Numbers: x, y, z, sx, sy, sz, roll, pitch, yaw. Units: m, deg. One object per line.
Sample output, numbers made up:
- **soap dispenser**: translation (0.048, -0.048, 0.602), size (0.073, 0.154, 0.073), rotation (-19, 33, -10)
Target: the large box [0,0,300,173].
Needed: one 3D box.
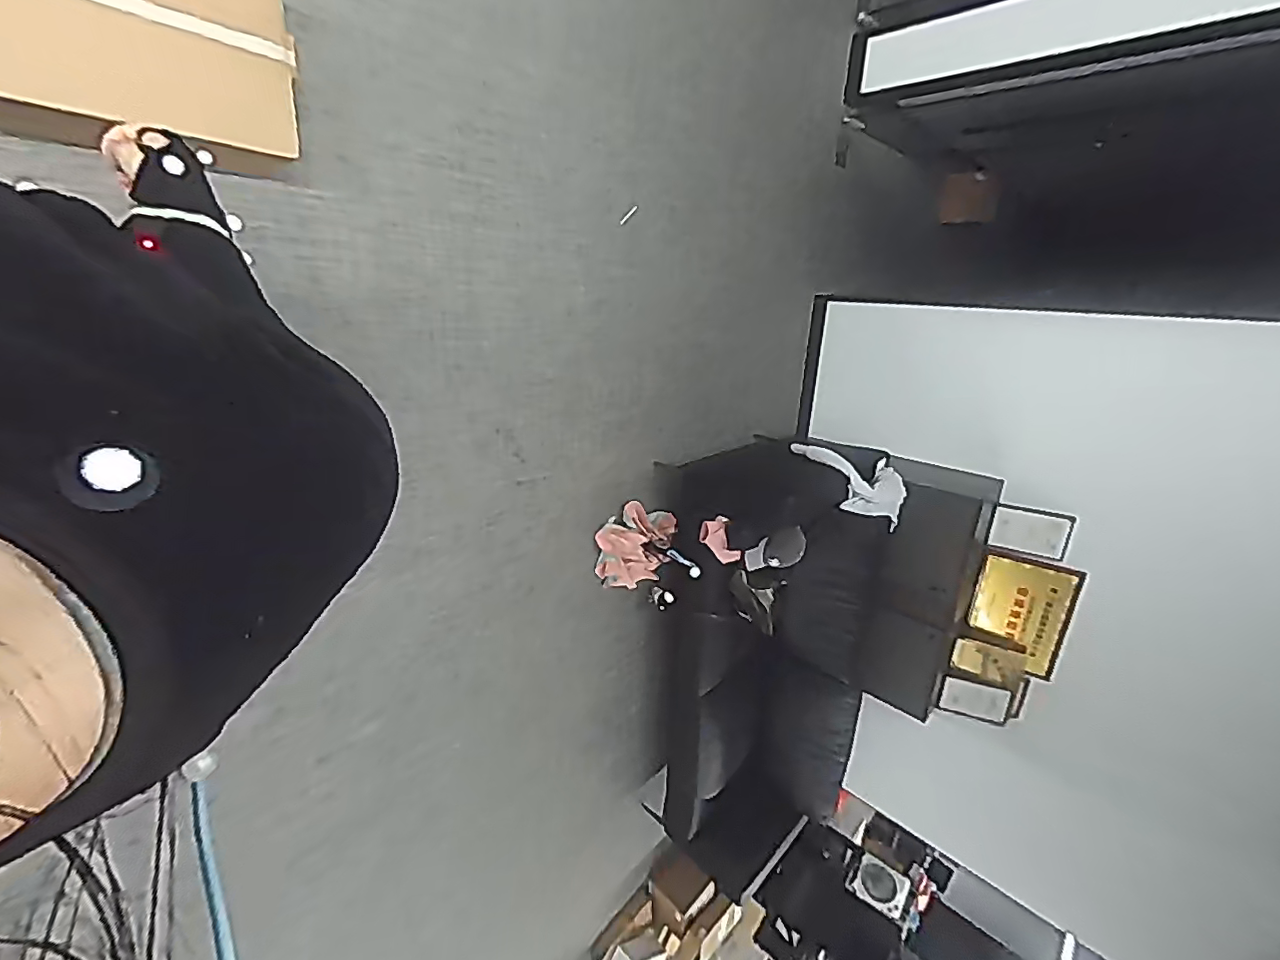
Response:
- **large box**: translation (-0.855, -0.732, 0.903), size (0.408, 0.320, 0.320), rotation (-14, 115, -43)
